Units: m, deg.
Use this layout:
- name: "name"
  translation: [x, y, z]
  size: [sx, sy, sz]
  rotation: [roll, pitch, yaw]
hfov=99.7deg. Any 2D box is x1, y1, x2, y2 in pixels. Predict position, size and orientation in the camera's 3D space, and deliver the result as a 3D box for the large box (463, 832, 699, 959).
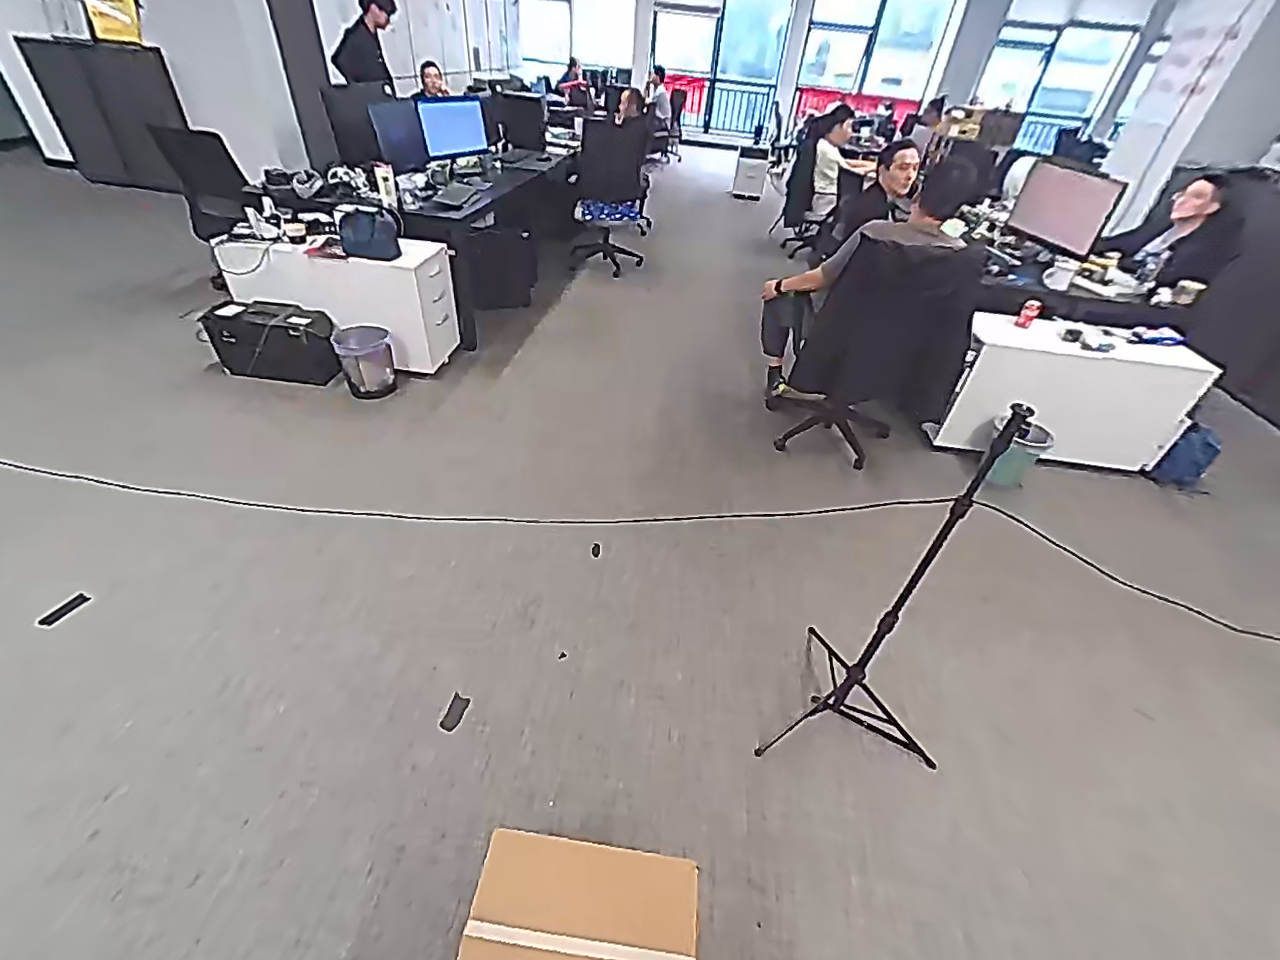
- name: "large box"
  translation: [-0.114, 0.923, 1.024]
  size: [0.408, 0.320, 0.320]
  rotation: [9, 39, 2]
